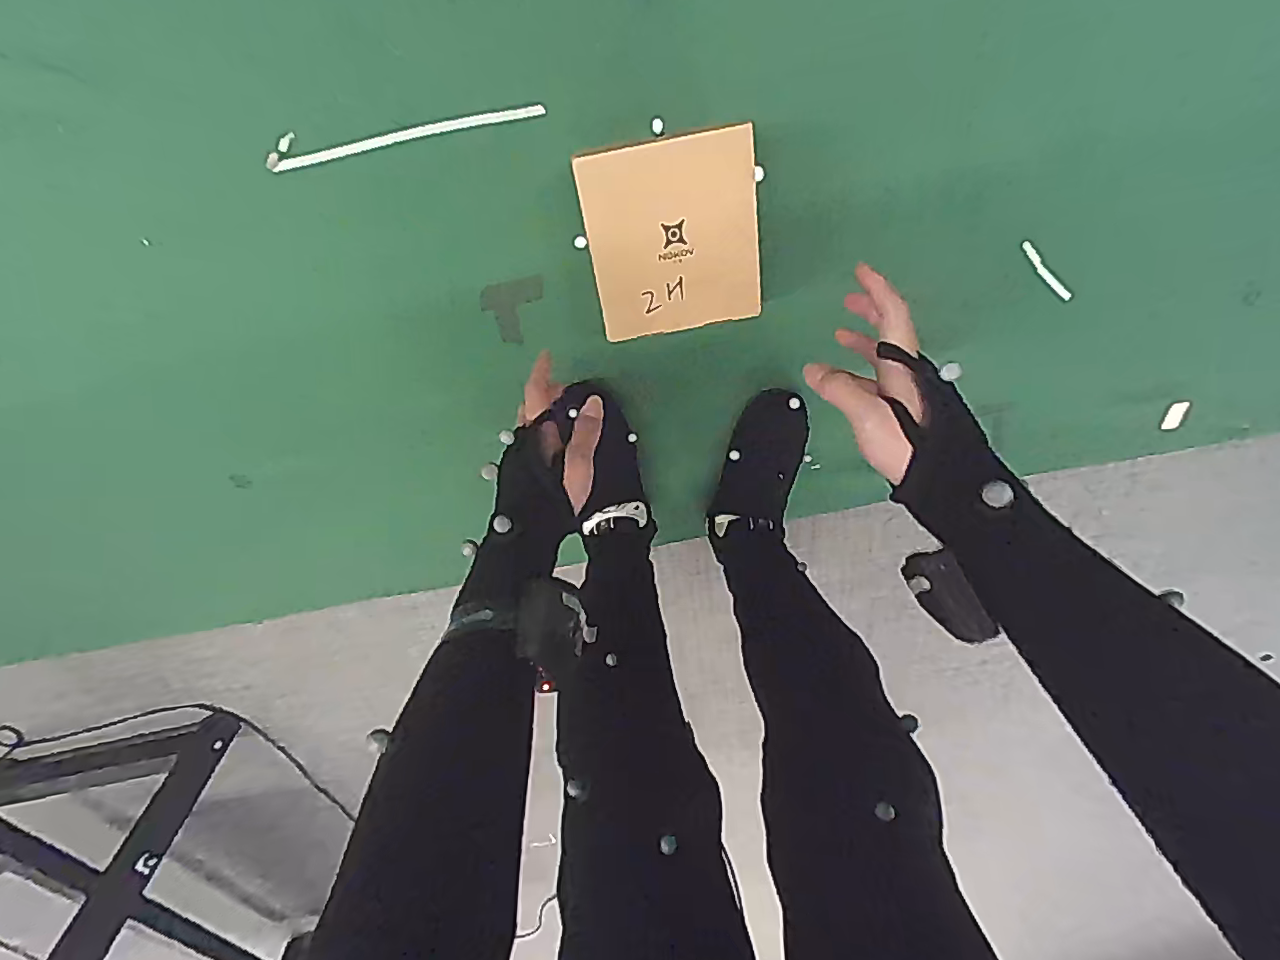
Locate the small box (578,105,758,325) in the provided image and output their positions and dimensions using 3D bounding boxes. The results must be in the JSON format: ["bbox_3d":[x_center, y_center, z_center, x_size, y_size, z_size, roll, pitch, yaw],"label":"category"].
[{"bbox_3d":[0.027,-0.290,0.589,0.168,0.176,0.179,-9,124,1],"label":"small box"}]
